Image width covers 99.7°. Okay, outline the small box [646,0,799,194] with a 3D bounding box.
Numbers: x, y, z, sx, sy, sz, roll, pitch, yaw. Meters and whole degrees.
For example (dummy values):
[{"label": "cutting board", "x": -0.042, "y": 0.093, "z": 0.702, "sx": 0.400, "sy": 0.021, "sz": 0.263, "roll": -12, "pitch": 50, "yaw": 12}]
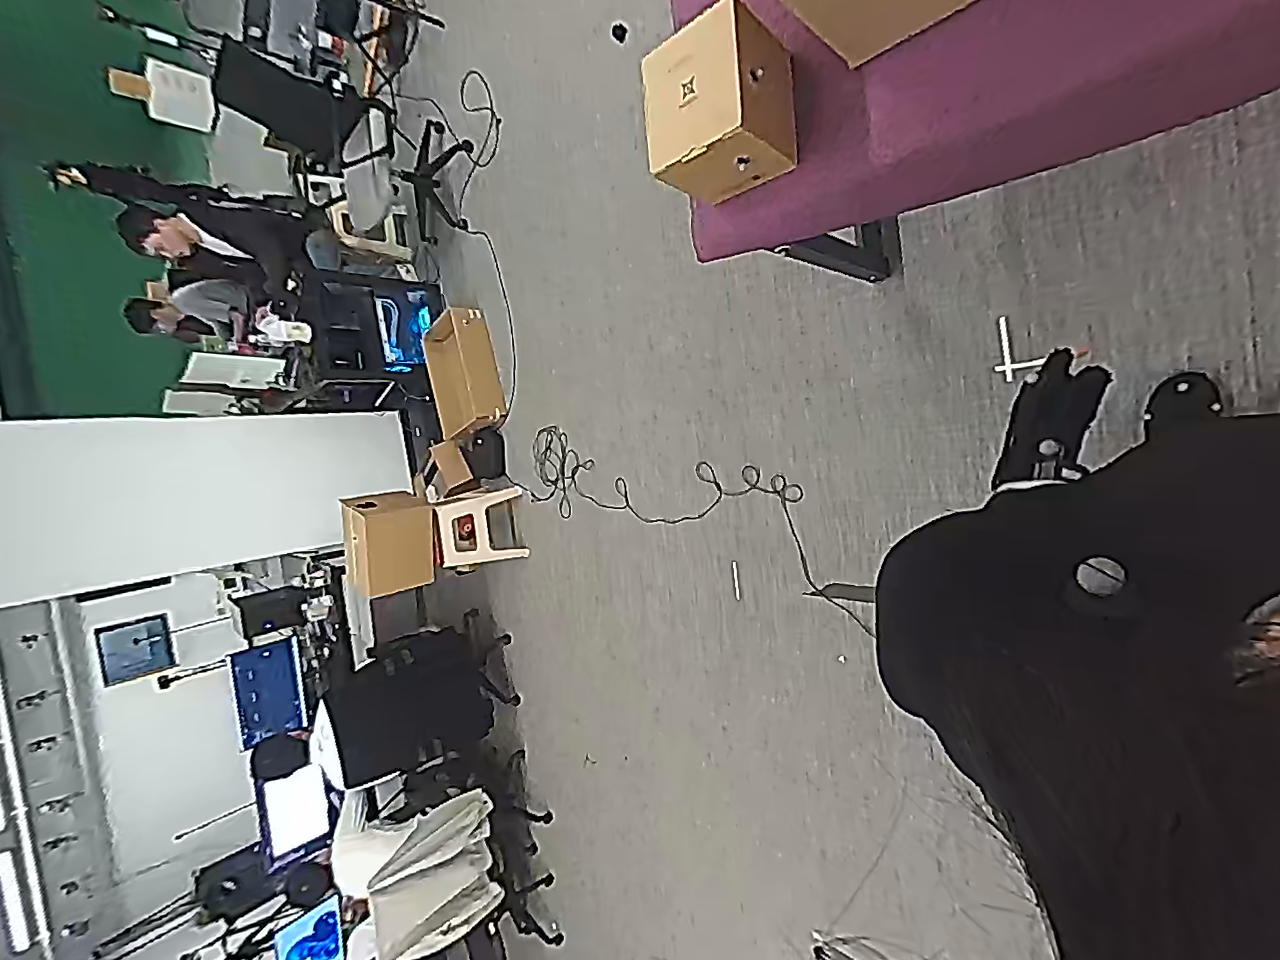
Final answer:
[{"label": "small box", "x": 0.129, "y": -0.561, "z": 0.821, "sx": 0.168, "sy": 0.176, "sz": 0.179, "roll": -2, "pitch": 93, "yaw": 43}]
